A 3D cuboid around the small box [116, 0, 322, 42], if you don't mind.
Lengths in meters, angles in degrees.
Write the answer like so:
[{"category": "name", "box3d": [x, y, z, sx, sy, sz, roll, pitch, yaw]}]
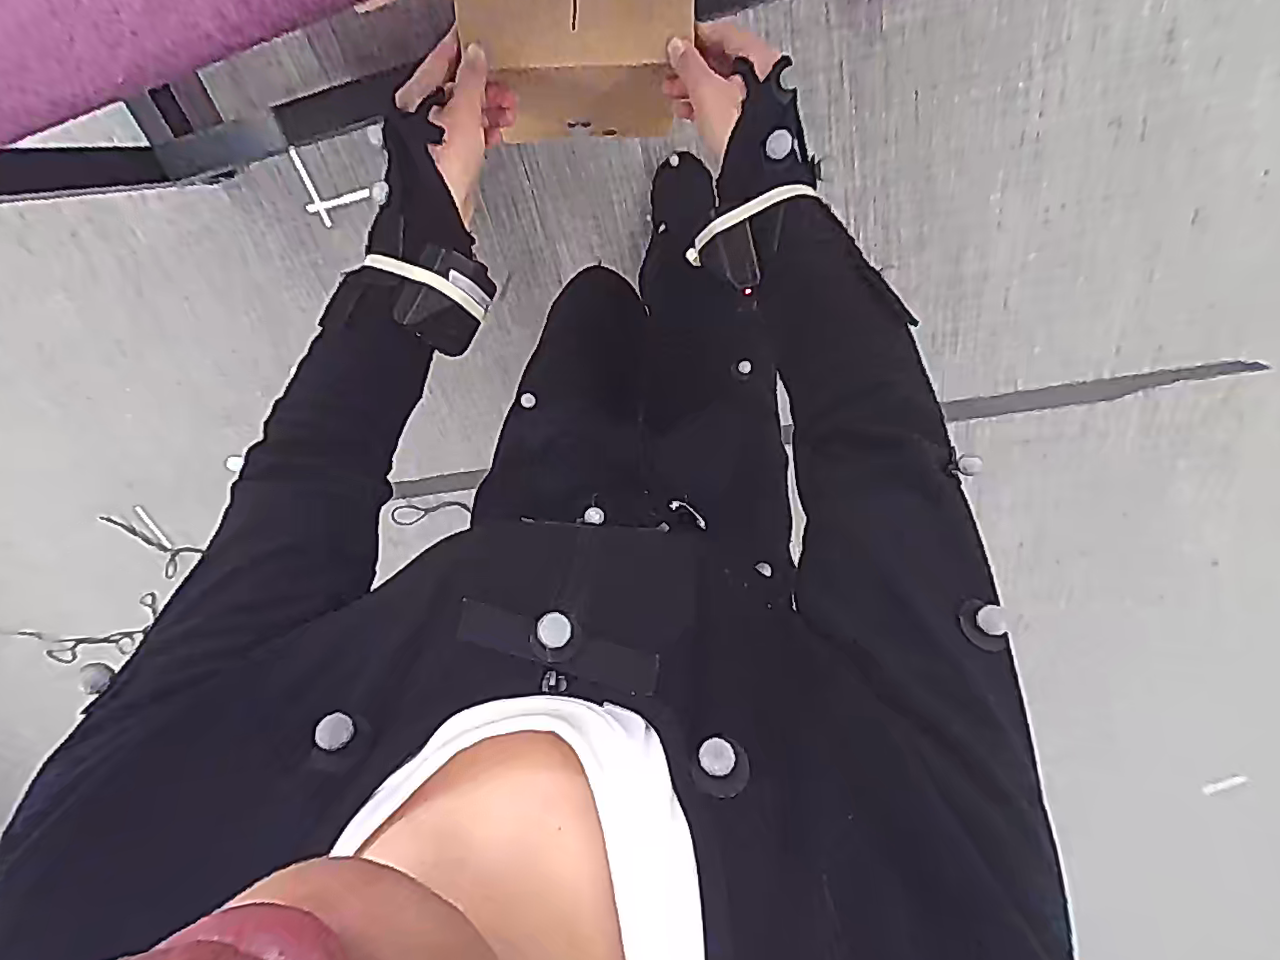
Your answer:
[{"category": "small box", "box3d": [-0.526, -0.654, 0.632, 0.168, 0.176, 0.179, -11, 122, 13]}]
